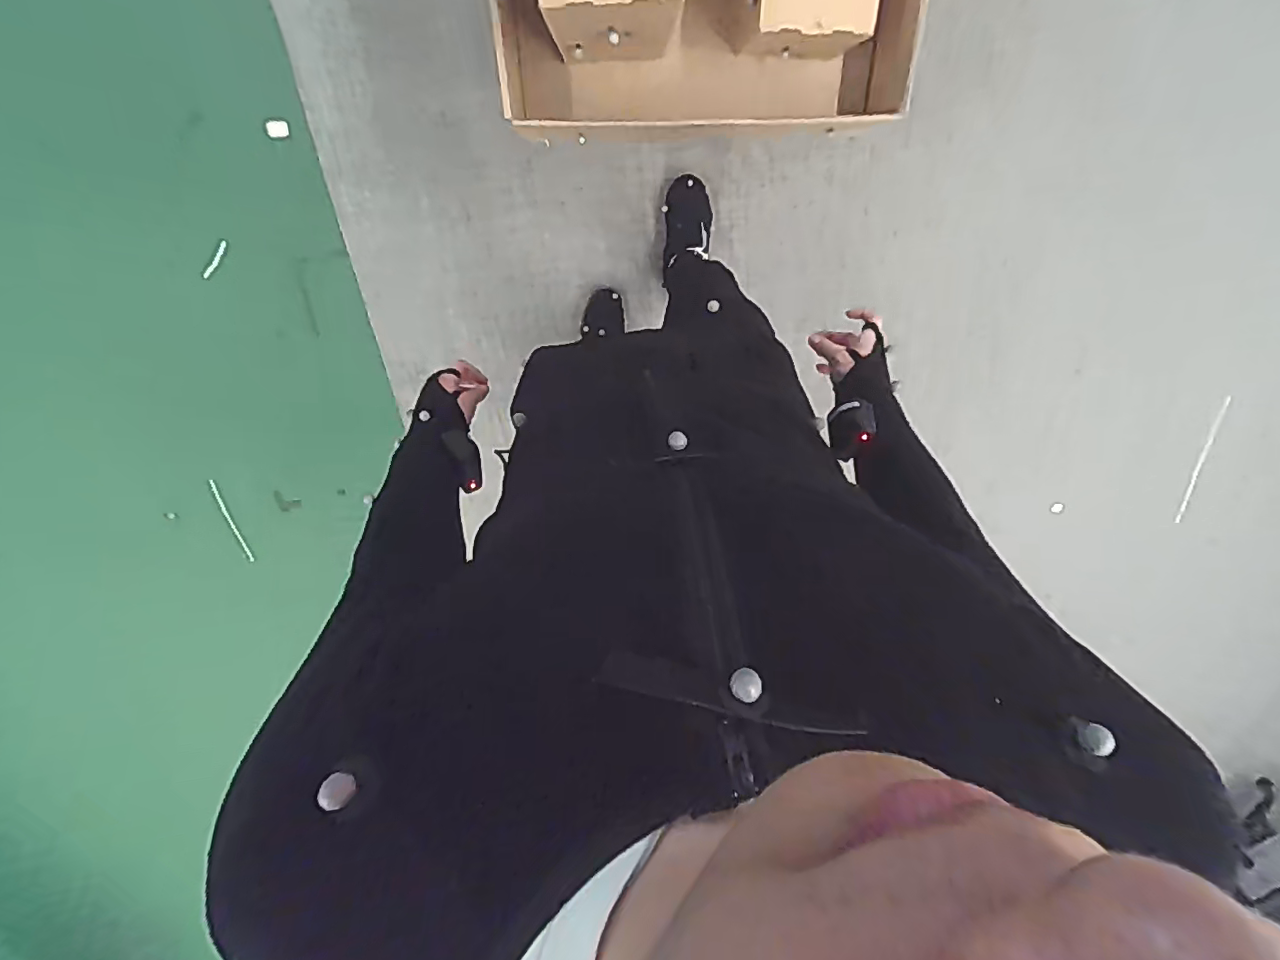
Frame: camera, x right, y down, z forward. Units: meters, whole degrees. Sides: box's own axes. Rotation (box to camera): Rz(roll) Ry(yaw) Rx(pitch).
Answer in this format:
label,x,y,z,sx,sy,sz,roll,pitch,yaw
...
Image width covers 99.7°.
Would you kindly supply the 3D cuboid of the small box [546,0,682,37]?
label,x,y,z,sx,sy,sz,roll,pitch,yaw
small box,-0.037,-0.647,0.624,0.168,0.176,0.179,-3,118,0
